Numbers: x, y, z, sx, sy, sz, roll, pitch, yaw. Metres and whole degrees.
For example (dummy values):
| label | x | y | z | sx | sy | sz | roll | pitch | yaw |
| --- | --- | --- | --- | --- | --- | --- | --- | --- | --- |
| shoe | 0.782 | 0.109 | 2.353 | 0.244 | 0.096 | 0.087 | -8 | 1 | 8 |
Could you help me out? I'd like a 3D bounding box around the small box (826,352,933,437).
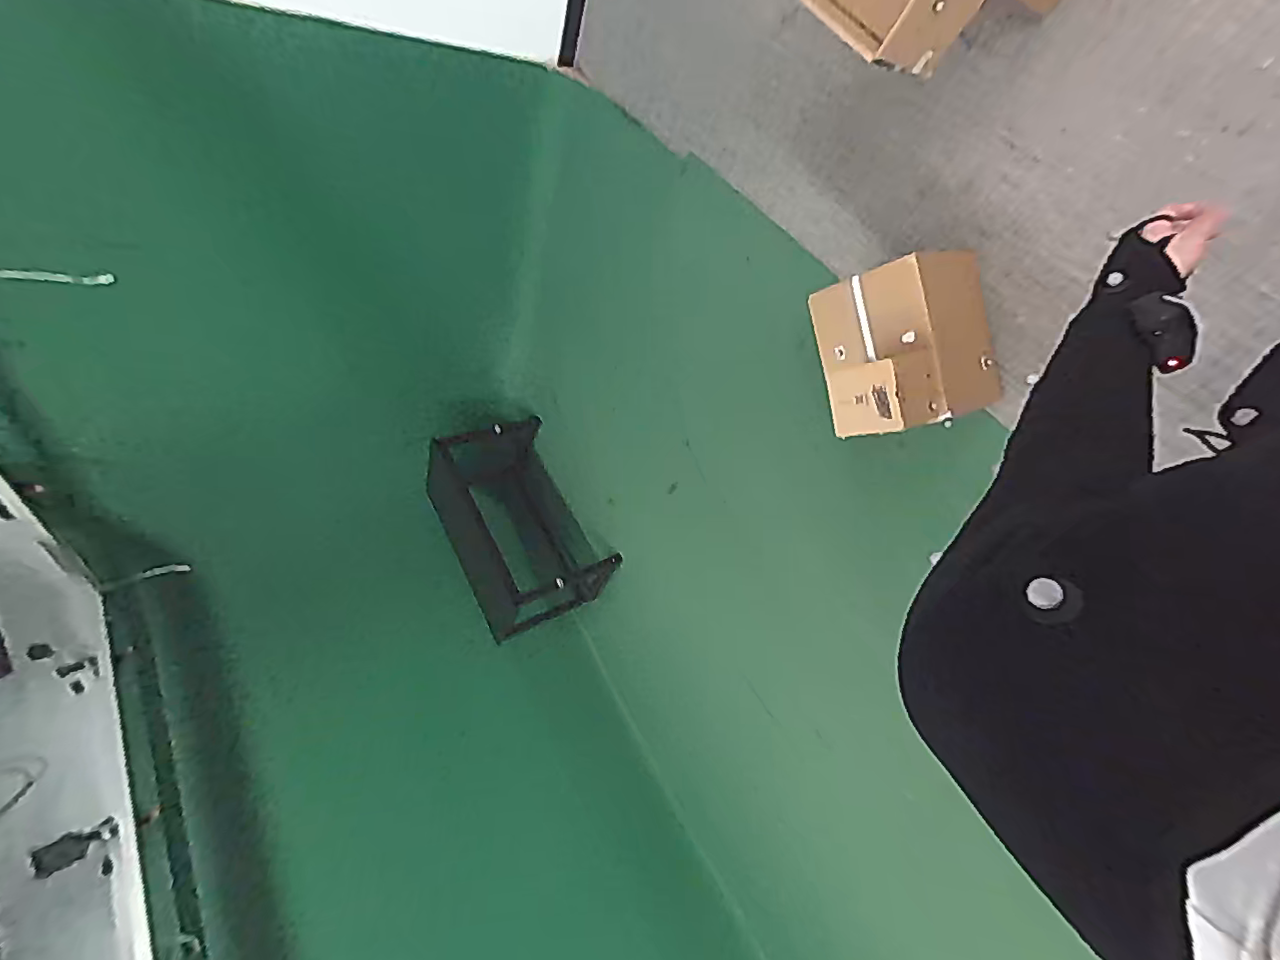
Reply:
| label | x | y | z | sx | sy | sz | roll | pitch | yaw |
| --- | --- | --- | --- | --- | --- | --- | --- | --- | --- |
| small box | 0.585 | -0.206 | 1.309 | 0.179 | 0.176 | 0.168 | -3 | 101 | 55 |
